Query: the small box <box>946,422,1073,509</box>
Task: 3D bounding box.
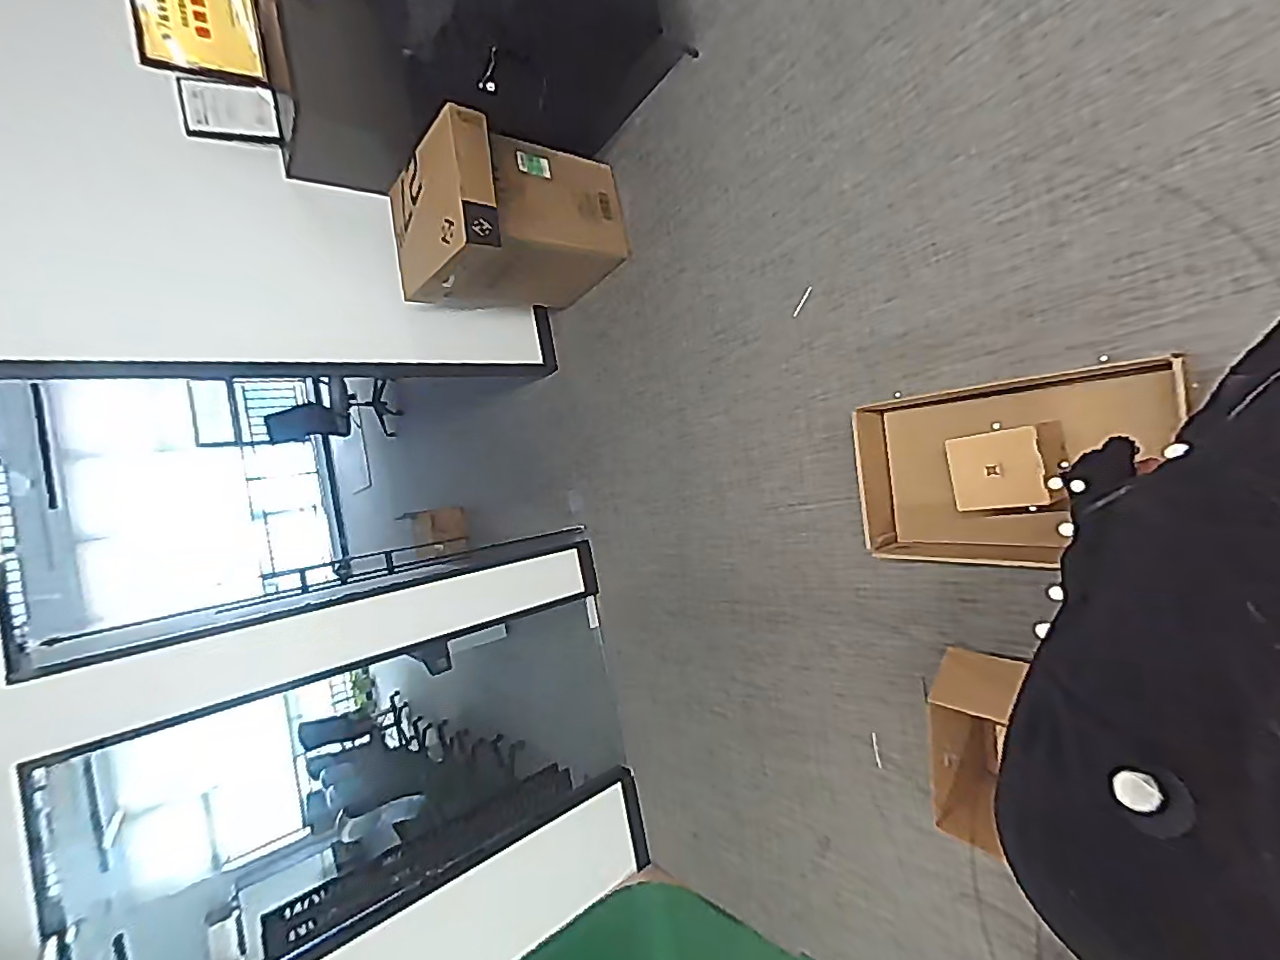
[{"bbox_3d":[0.817,-0.031,1.197,0.179,0.176,0.168,-13,86,52],"label":"small box"}]
